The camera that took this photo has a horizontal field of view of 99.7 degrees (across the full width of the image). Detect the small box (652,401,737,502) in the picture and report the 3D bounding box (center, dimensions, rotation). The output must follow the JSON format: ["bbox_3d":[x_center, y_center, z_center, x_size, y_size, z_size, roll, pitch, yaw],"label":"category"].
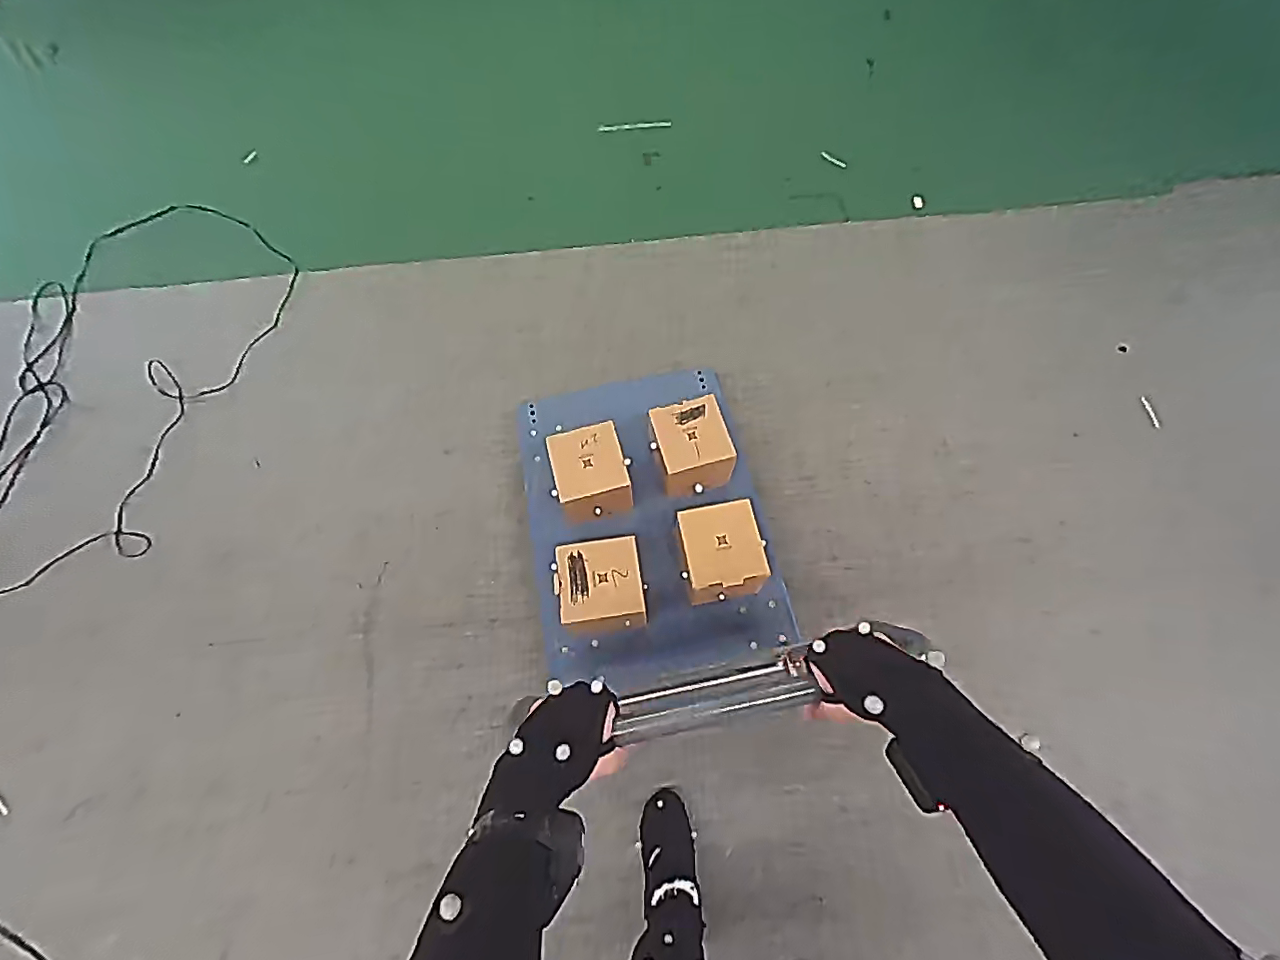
[{"bbox_3d":[0.129,-0.067,1.353,0.168,0.176,0.179,-15,67,-3],"label":"small box"}]

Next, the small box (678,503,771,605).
[{"bbox_3d":[0.184,0.174,1.244,0.168,0.176,0.179,-11,66,-2],"label":"small box"}]

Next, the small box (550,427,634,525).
[{"bbox_3d":[-0.113,-0.001,1.335,0.168,0.176,0.179,-15,66,-5],"label":"small box"}]
